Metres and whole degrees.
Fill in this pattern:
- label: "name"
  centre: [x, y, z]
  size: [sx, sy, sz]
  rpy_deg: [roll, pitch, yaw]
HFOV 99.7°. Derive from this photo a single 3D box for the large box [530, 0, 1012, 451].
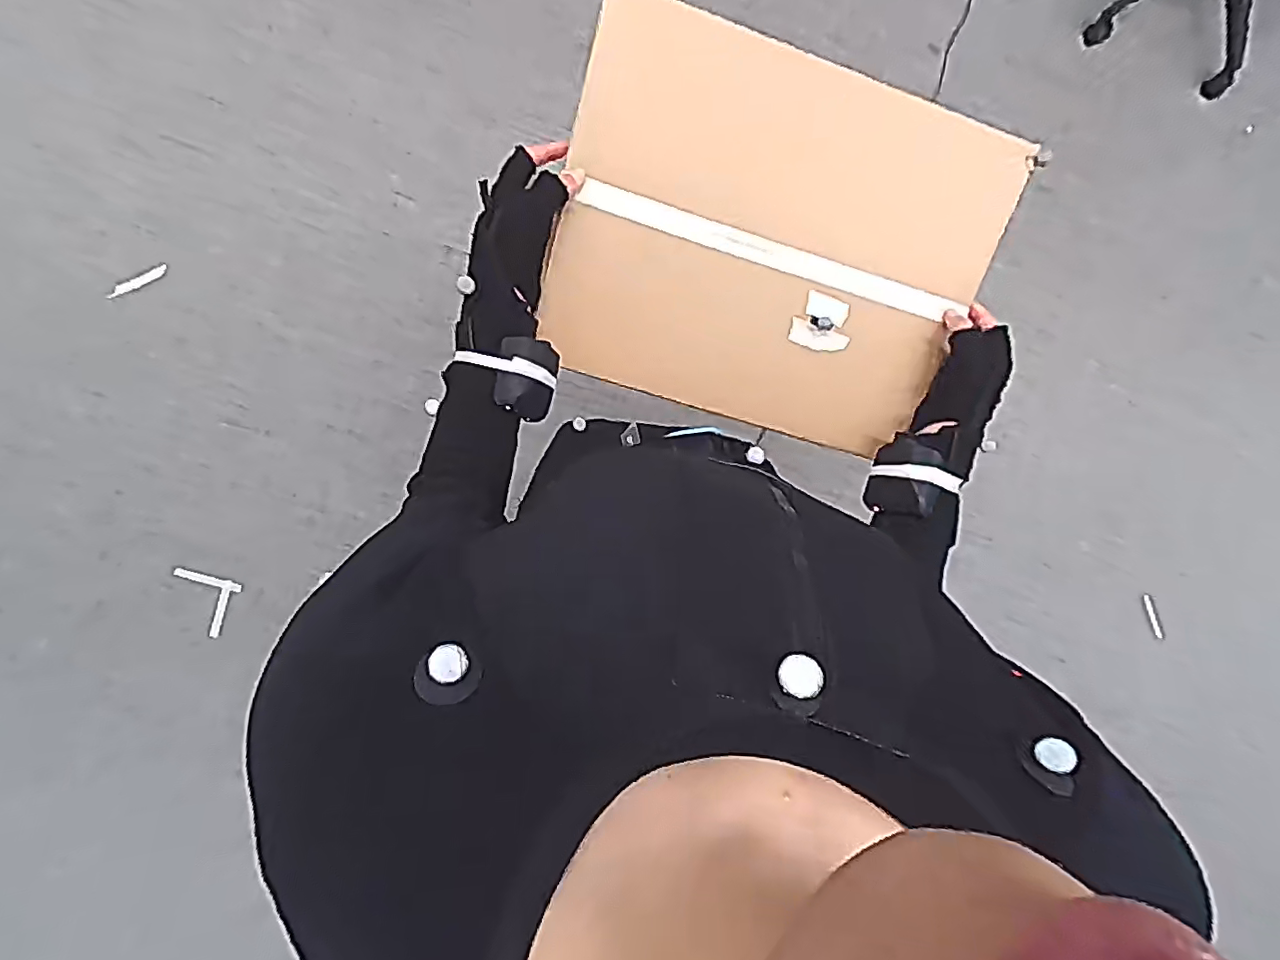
- label: "large box"
  centre: [0.109, -0.262, 0.661]
  size: [0.408, 0.320, 0.320]
  rpy_deg: [15, 107, -8]
